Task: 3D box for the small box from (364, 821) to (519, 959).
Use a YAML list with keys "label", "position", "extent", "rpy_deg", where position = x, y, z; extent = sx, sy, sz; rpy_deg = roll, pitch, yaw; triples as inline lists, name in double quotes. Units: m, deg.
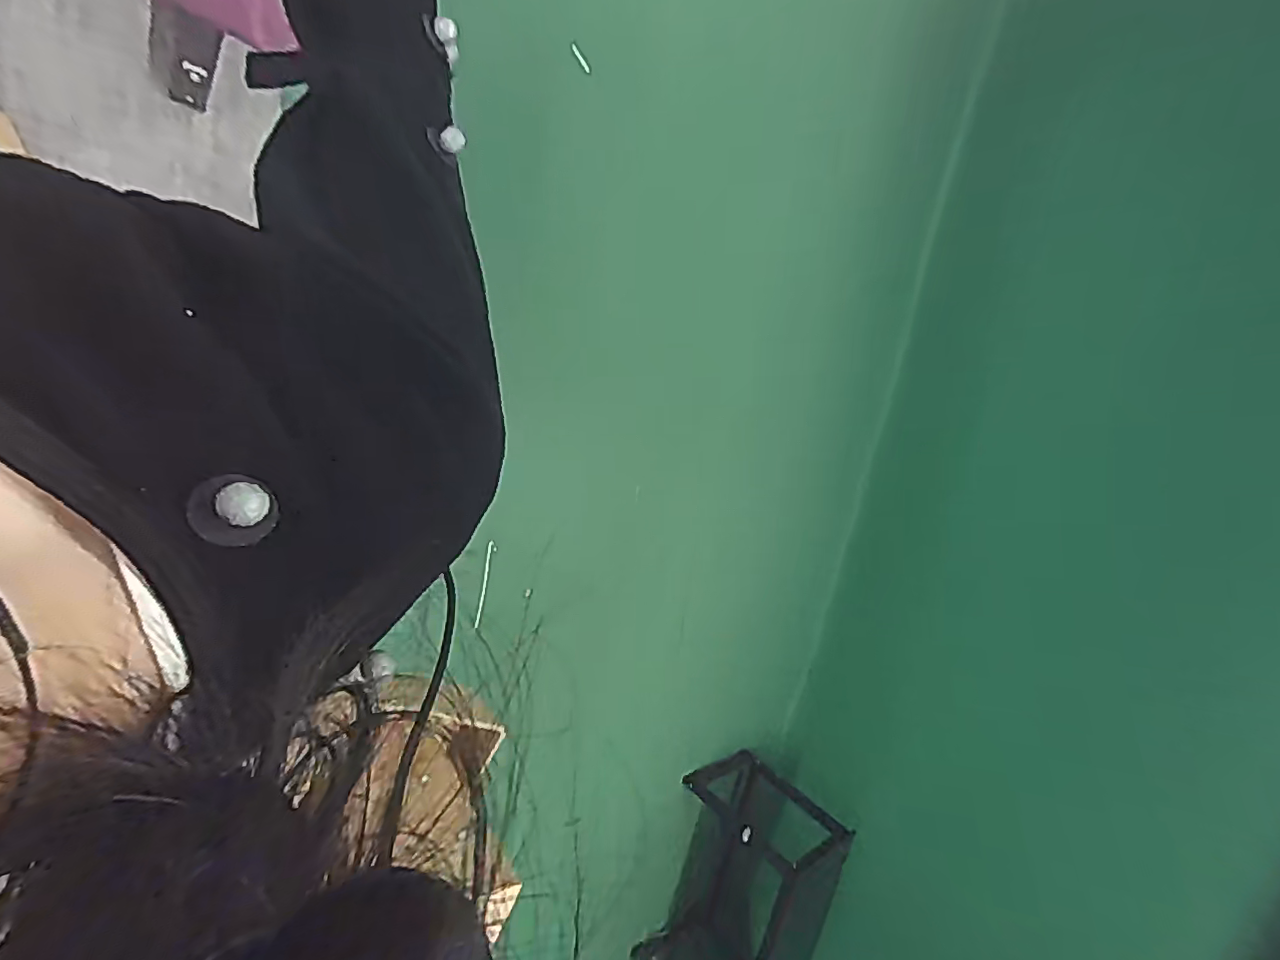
- label: "small box"
  position: [-0.348, 0.730, 0.932]
  extent: [0.168, 0.176, 0.179]
  rpy_deg: [31, 84, -45]
